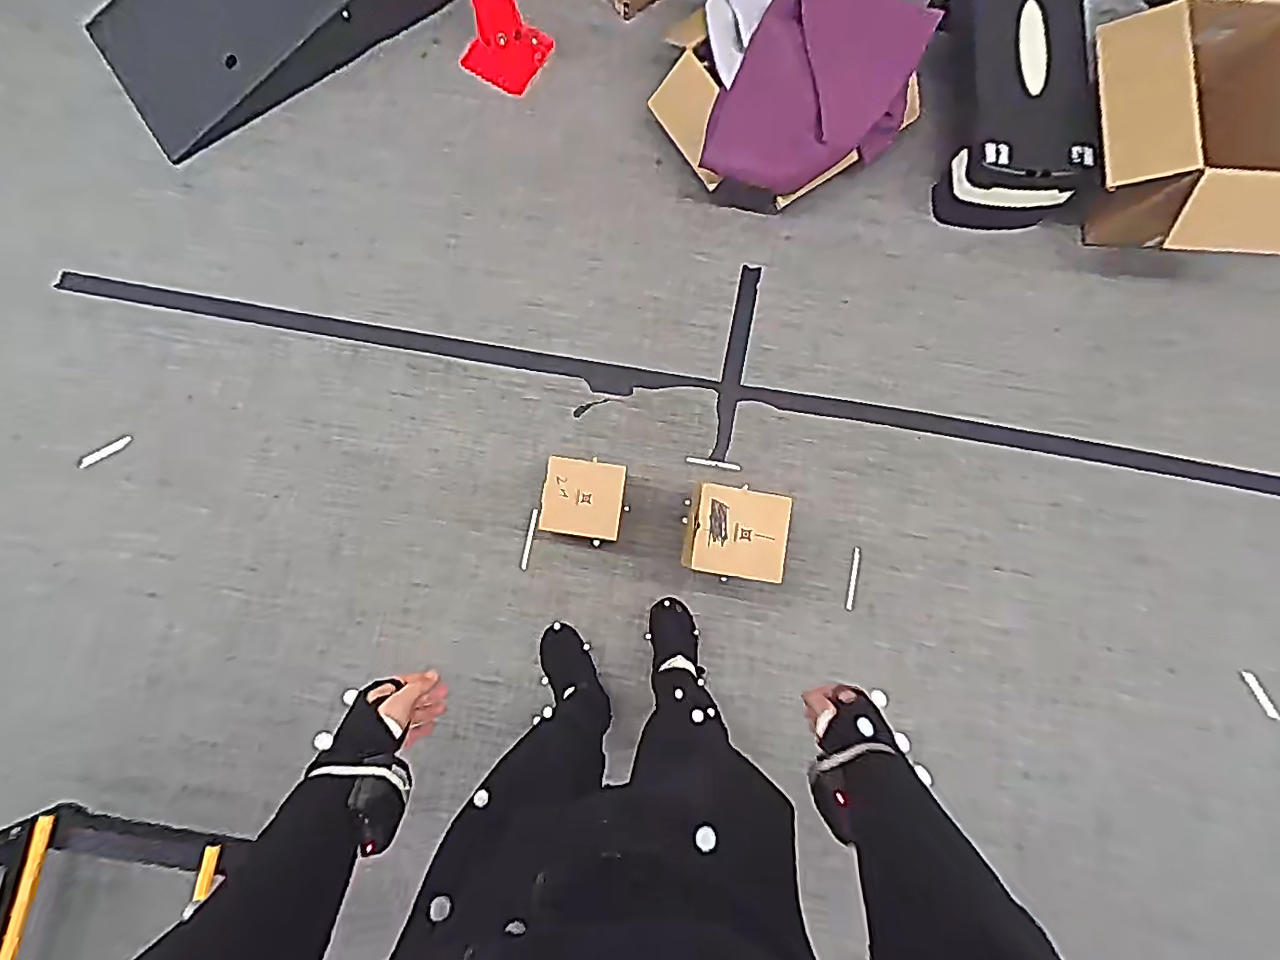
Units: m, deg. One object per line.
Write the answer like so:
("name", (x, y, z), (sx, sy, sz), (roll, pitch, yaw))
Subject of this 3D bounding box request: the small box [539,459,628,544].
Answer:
("small box", (-0.123, 0.053, 1.258), (0.179, 0.176, 0.168), (8, 83, 1))

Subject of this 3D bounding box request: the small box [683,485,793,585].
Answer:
("small box", (0.188, 0.111, 1.089), (0.179, 0.176, 0.168), (10, 84, 0))
